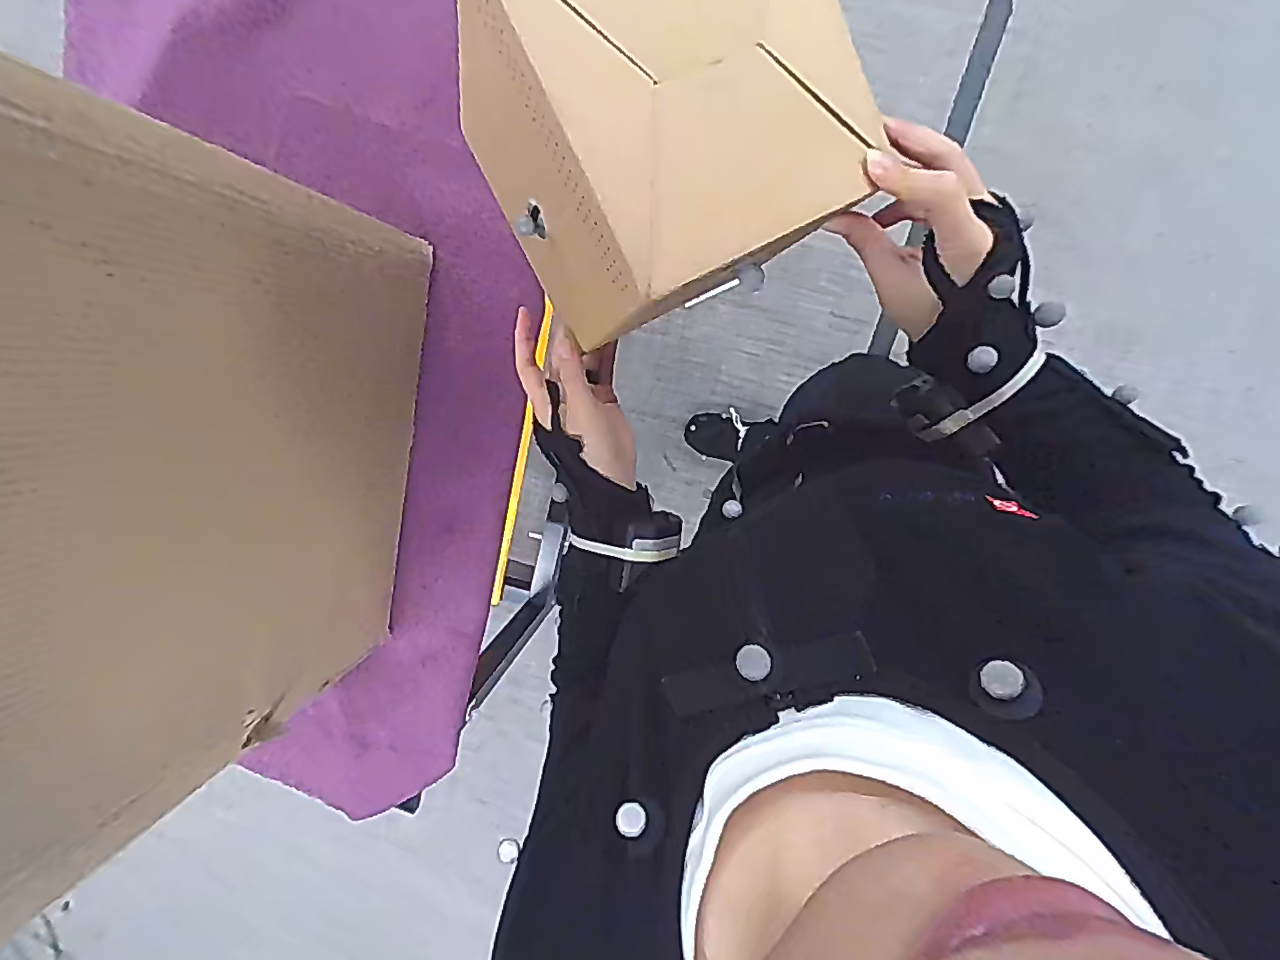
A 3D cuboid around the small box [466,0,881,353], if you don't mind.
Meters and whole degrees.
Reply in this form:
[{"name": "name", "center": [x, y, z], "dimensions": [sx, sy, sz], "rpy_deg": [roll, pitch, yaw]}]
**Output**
[{"name": "small box", "center": [0.012, -0.204, 0.334], "dimensions": [0.168, 0.176, 0.179], "rpy_deg": [-30, 102, -13]}]
